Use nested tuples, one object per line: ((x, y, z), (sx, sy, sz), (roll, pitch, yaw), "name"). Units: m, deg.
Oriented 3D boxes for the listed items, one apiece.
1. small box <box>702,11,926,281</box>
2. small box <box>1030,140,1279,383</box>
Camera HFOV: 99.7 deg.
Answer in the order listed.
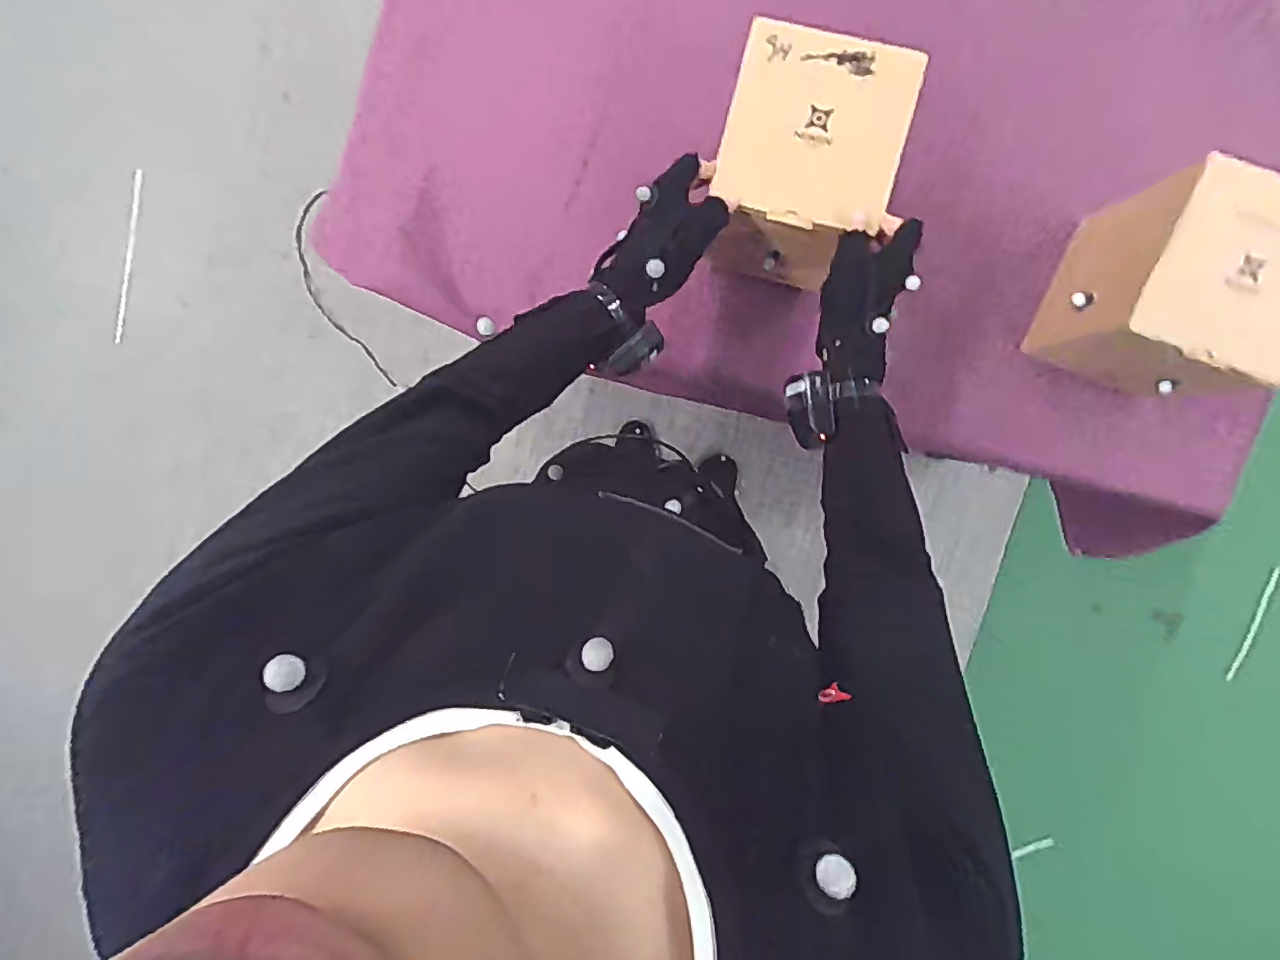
((0.167, -0.336, 0.582), (0.168, 0.176, 0.179), (15, 95, 3), "small box")
((0.578, -0.216, 0.589), (0.168, 0.176, 0.179), (22, 97, 1), "small box")
